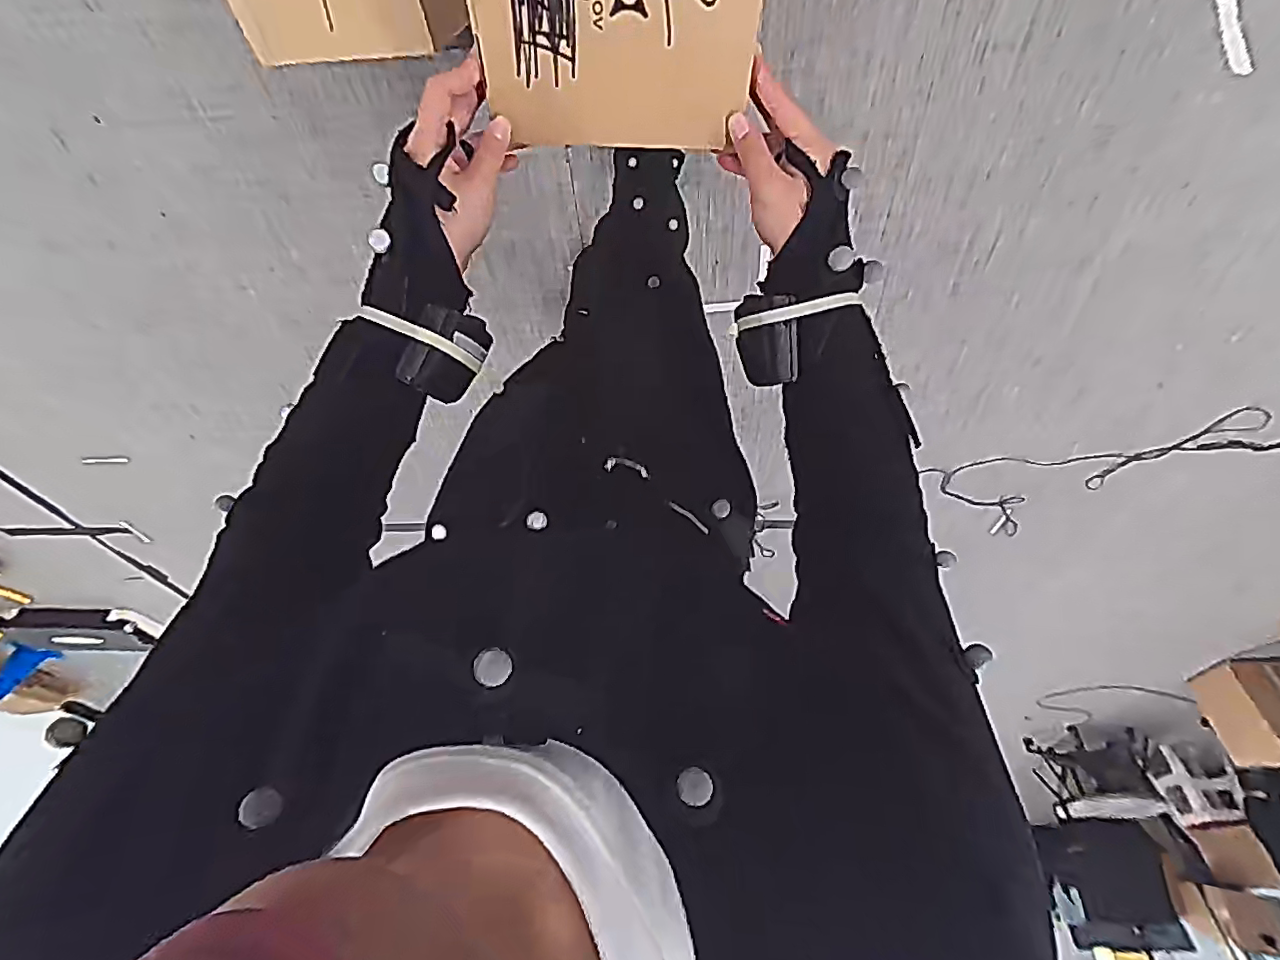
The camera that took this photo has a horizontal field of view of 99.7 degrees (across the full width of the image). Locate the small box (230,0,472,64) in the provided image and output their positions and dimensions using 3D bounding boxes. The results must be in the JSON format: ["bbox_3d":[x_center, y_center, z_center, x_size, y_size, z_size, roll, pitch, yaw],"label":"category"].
[{"bbox_3d":[-0.262,-0.492,0.470,0.168,0.176,0.179,-1,140,3],"label":"small box"}]

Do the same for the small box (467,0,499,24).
[{"bbox_3d":[-0.256,-0.615,0.578,0.168,0.176,0.179,0,140,3],"label":"small box"}]
